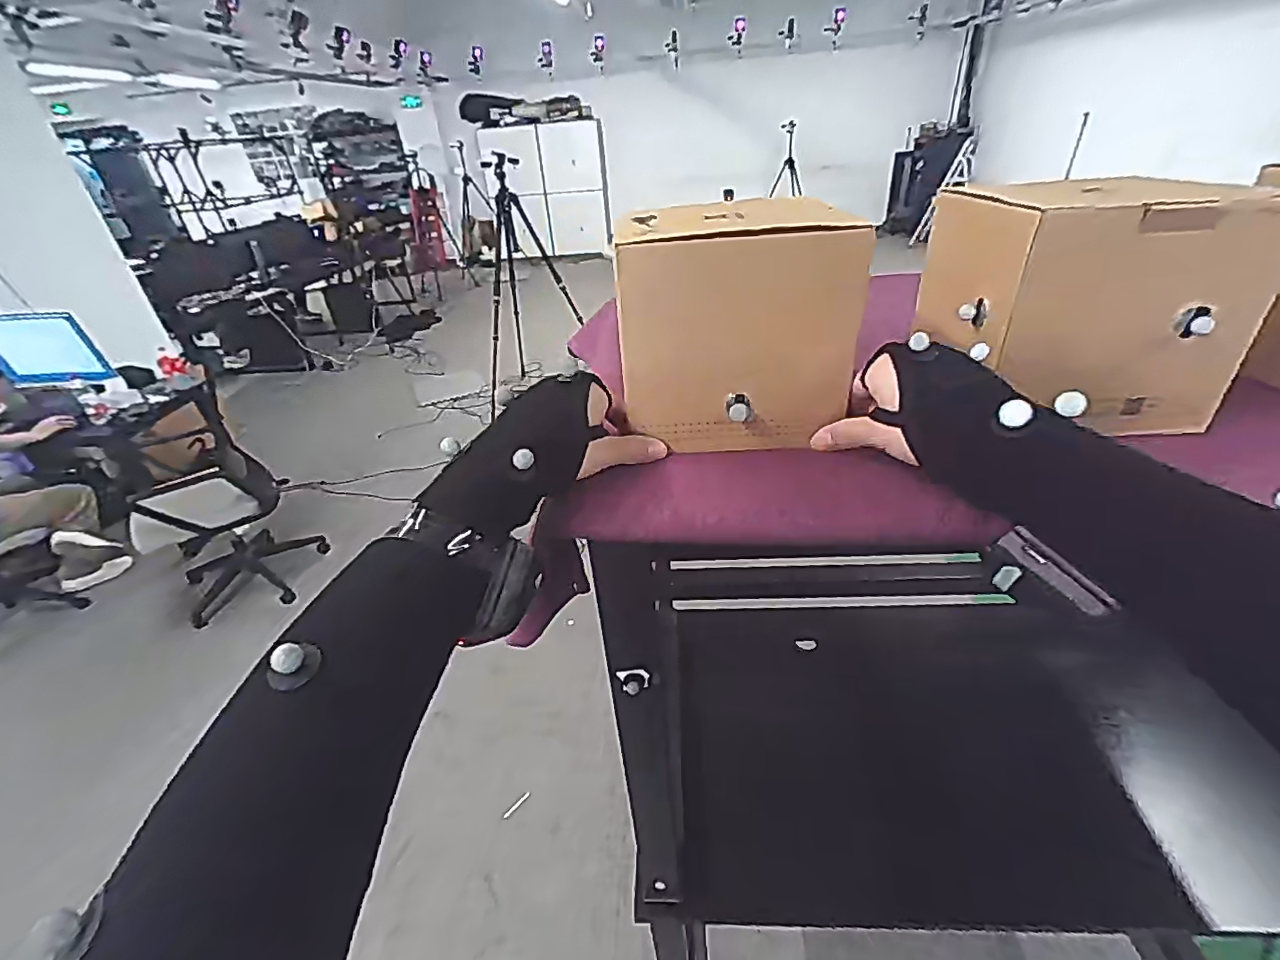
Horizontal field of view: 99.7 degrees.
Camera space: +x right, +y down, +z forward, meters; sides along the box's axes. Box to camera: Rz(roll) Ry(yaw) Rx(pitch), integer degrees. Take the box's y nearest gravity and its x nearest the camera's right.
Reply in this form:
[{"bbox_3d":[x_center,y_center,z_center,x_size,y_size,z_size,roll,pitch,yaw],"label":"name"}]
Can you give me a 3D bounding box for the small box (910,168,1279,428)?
[{"bbox_3d":[0.347,-0.150,0.446,0.168,0.176,0.179,0,31,6],"label":"small box"}]
